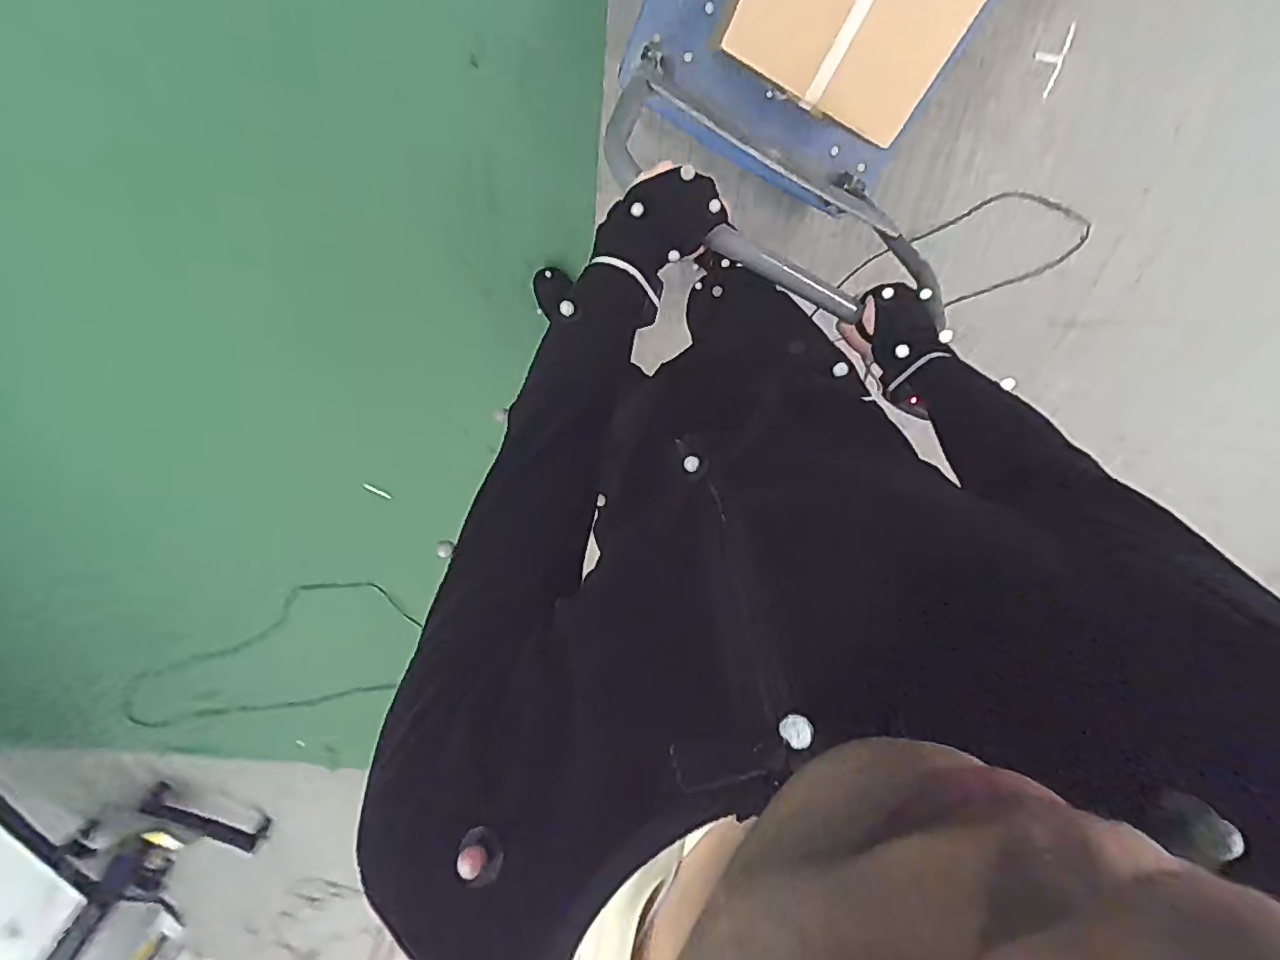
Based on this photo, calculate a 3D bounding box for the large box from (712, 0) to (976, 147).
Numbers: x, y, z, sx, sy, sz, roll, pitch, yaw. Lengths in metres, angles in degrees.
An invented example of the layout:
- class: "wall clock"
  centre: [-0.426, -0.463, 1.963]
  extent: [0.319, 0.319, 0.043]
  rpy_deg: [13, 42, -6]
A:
- class: "large box"
  centre: [0.342, -0.819, 0.846]
  extent: [0.320, 0.320, 0.408]
  rpy_deg: [21, 127, -14]
